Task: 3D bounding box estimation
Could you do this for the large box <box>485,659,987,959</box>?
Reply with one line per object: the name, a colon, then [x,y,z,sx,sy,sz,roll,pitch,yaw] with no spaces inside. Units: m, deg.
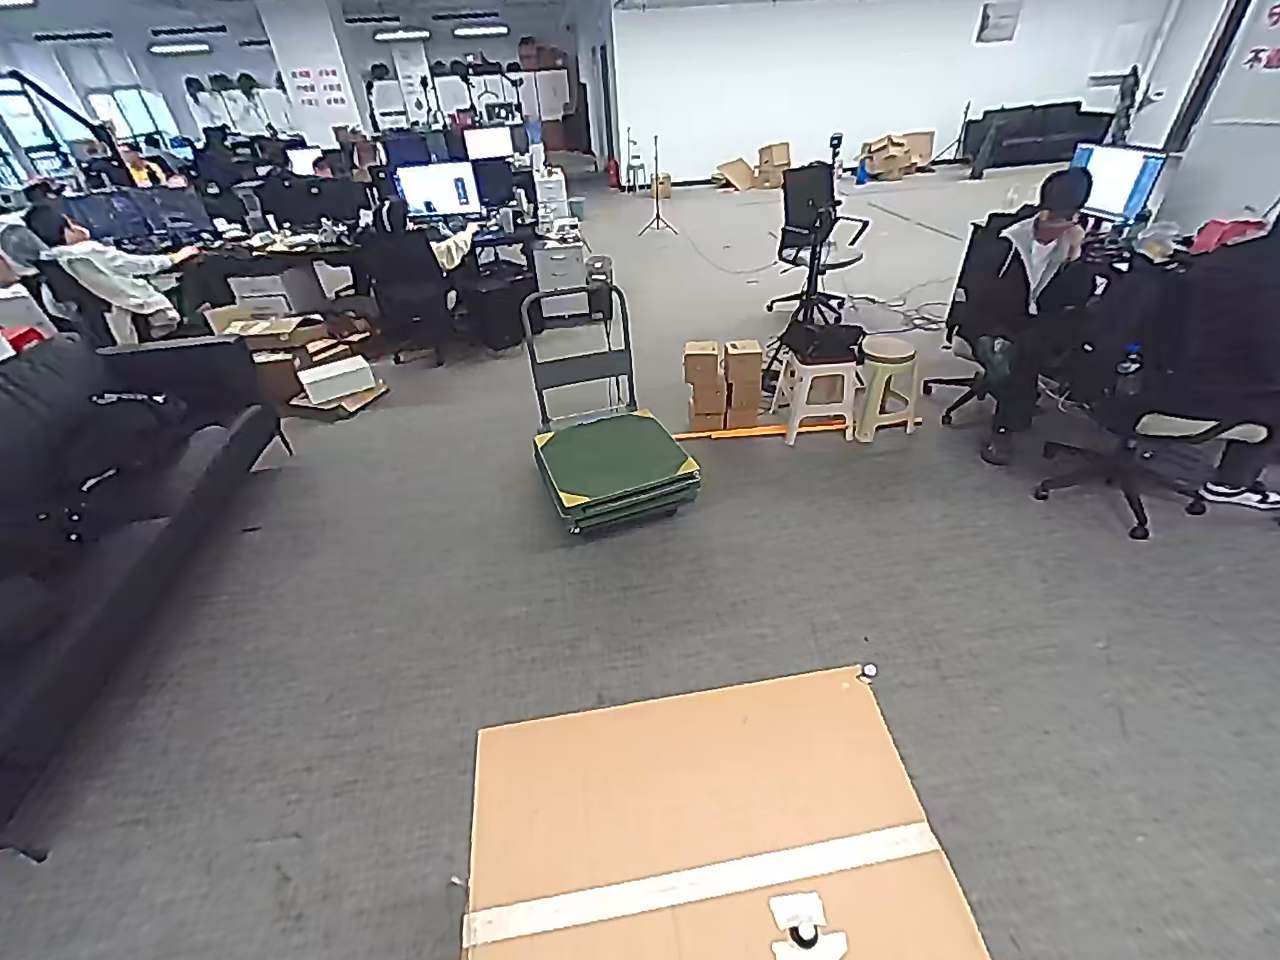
large box: [0.067,0.436,0.586,0.408,0.320,0.320,-8,50,-5]
